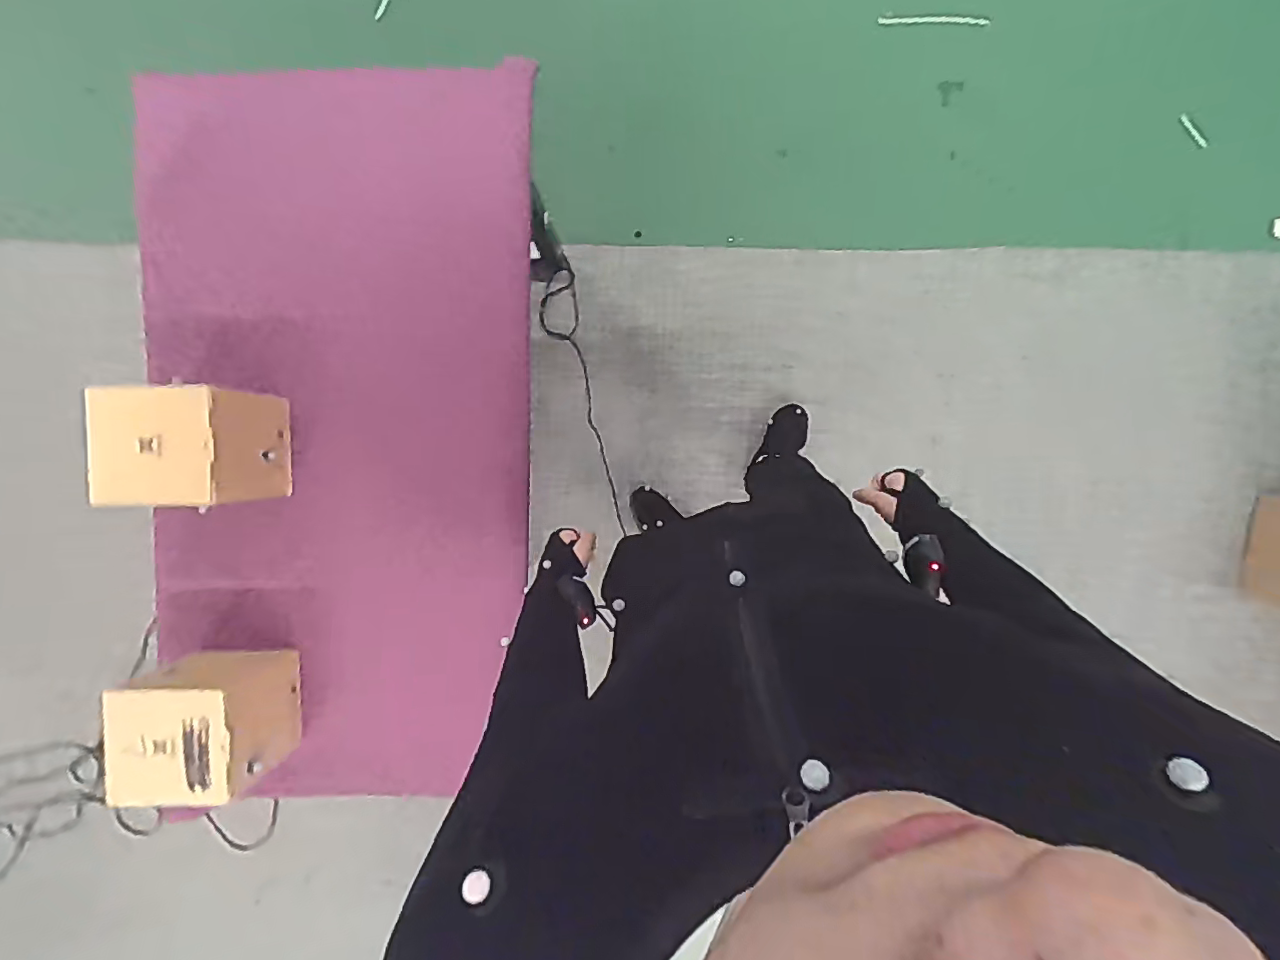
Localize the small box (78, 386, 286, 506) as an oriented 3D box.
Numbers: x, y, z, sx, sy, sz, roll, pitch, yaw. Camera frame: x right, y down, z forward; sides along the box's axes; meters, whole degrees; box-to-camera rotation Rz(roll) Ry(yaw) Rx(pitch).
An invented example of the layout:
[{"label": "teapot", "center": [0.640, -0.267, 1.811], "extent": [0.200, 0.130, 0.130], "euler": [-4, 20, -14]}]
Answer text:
[{"label": "small box", "center": [-0.673, -0.047, 0.813], "extent": [0.179, 0.176, 0.168], "euler": [-1, 92, 0]}]
